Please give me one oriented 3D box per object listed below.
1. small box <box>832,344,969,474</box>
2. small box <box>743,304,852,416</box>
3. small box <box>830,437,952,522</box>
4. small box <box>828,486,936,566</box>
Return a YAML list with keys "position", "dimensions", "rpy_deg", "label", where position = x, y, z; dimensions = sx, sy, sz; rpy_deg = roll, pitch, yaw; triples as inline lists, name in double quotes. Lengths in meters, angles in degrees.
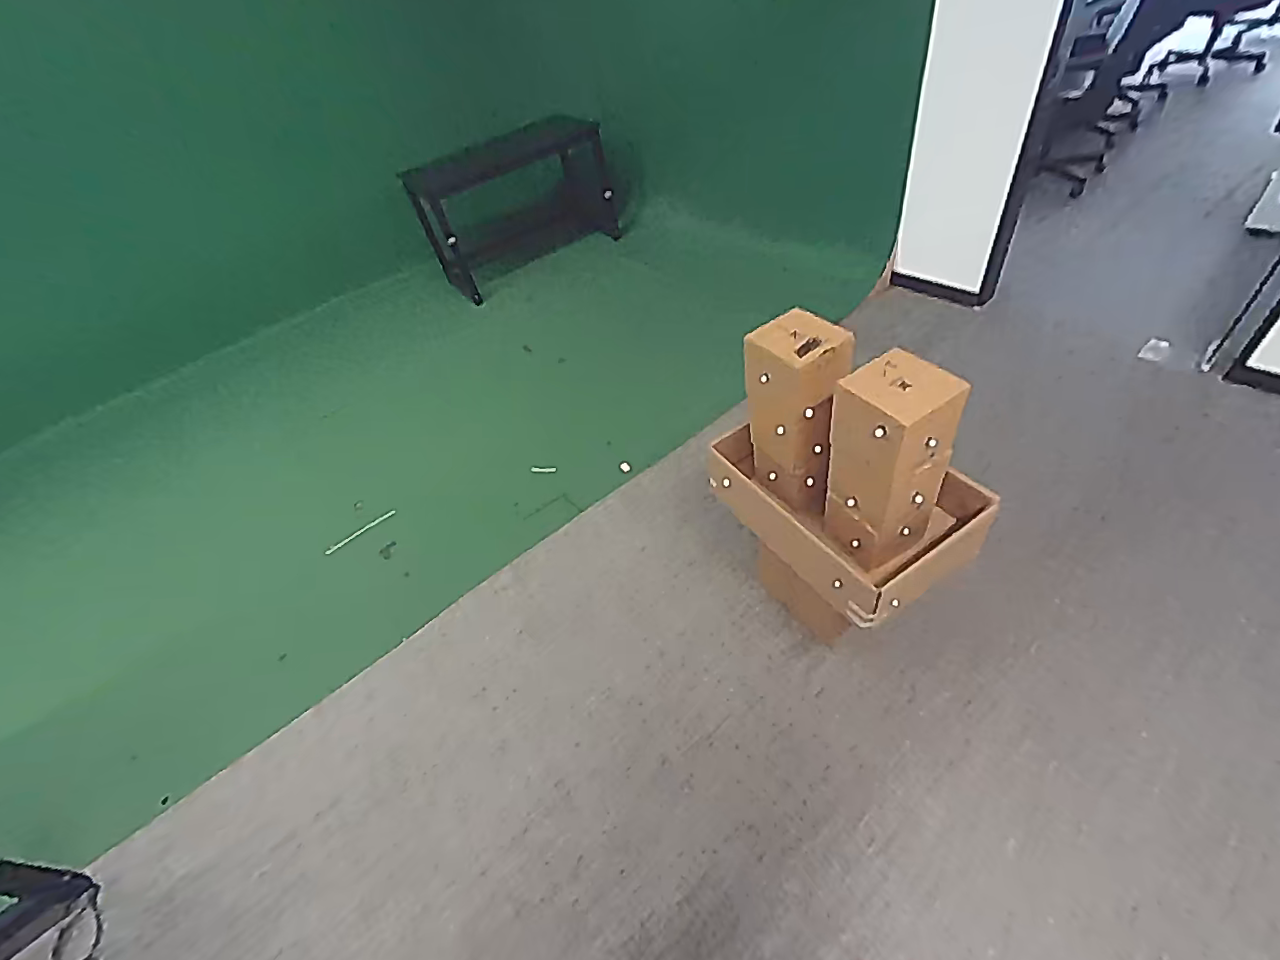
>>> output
- position: [0.508, -0.135, 1.081]
  dimensions: [0.168, 0.176, 0.179]
  rpy_deg: [-30, 48, -12]
  label: "small box"
- position: [0.361, -0.271, 1.249]
  dimensions: [0.168, 0.176, 0.179]
  rpy_deg: [-32, 48, -14]
  label: "small box"
- position: [0.546, -0.029, 1.202]
  dimensions: [0.168, 0.176, 0.179]
  rpy_deg: [-28, 48, -10]
  label: "small box"
- position: [0.580, 0.079, 1.319]
  dimensions: [0.179, 0.176, 0.168]
  rpy_deg: [-28, 48, -10]
  label: "small box"
